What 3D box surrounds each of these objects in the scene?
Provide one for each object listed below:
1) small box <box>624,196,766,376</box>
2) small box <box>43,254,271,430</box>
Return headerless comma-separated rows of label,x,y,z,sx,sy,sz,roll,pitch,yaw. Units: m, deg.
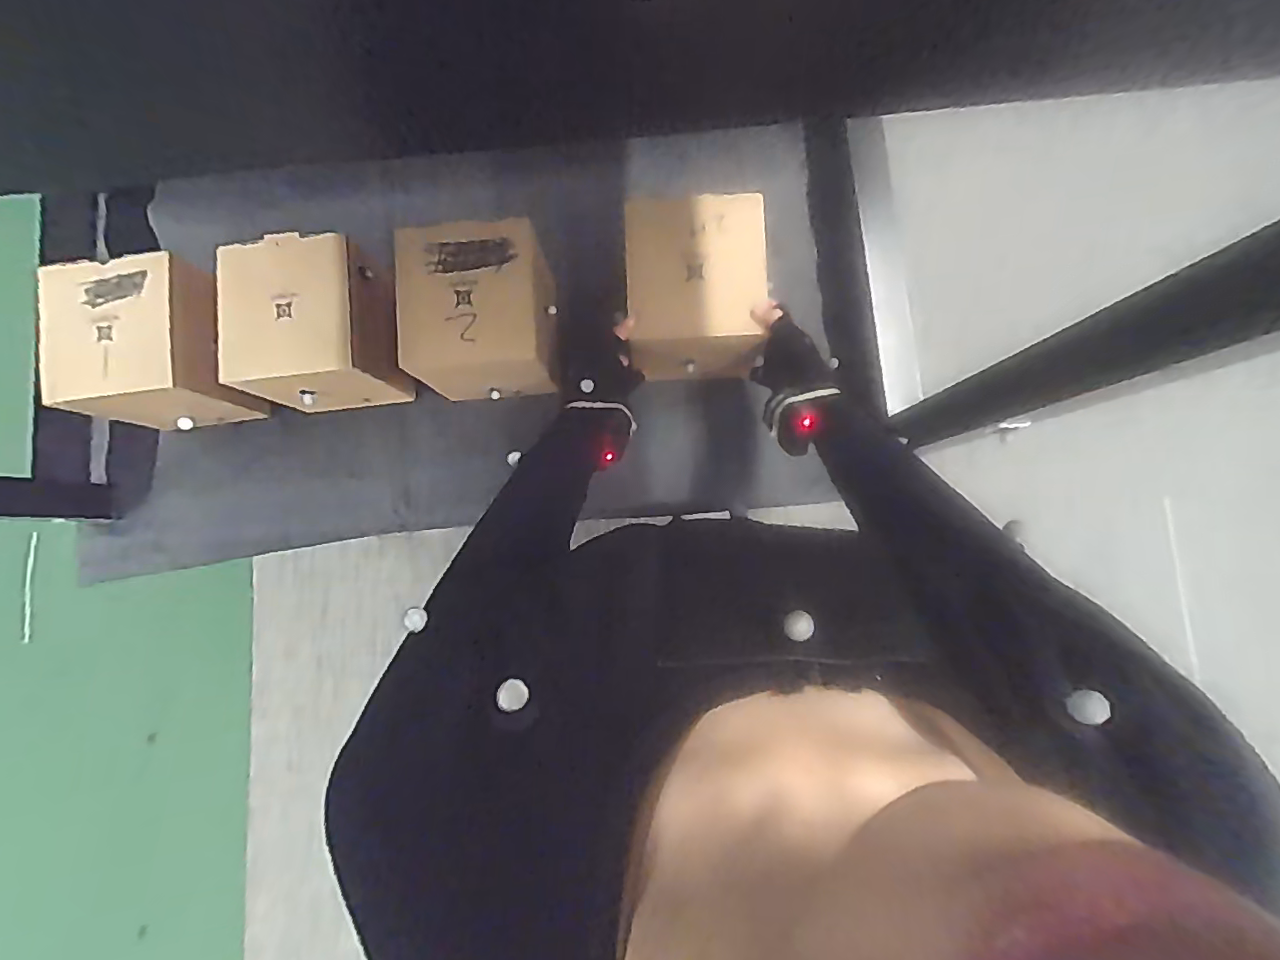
small box,0.067,-0.239,0.710,0.168,0.176,0.179,-1,84,2
small box,-0.640,-0.177,0.737,0.168,0.176,0.179,-7,84,2
